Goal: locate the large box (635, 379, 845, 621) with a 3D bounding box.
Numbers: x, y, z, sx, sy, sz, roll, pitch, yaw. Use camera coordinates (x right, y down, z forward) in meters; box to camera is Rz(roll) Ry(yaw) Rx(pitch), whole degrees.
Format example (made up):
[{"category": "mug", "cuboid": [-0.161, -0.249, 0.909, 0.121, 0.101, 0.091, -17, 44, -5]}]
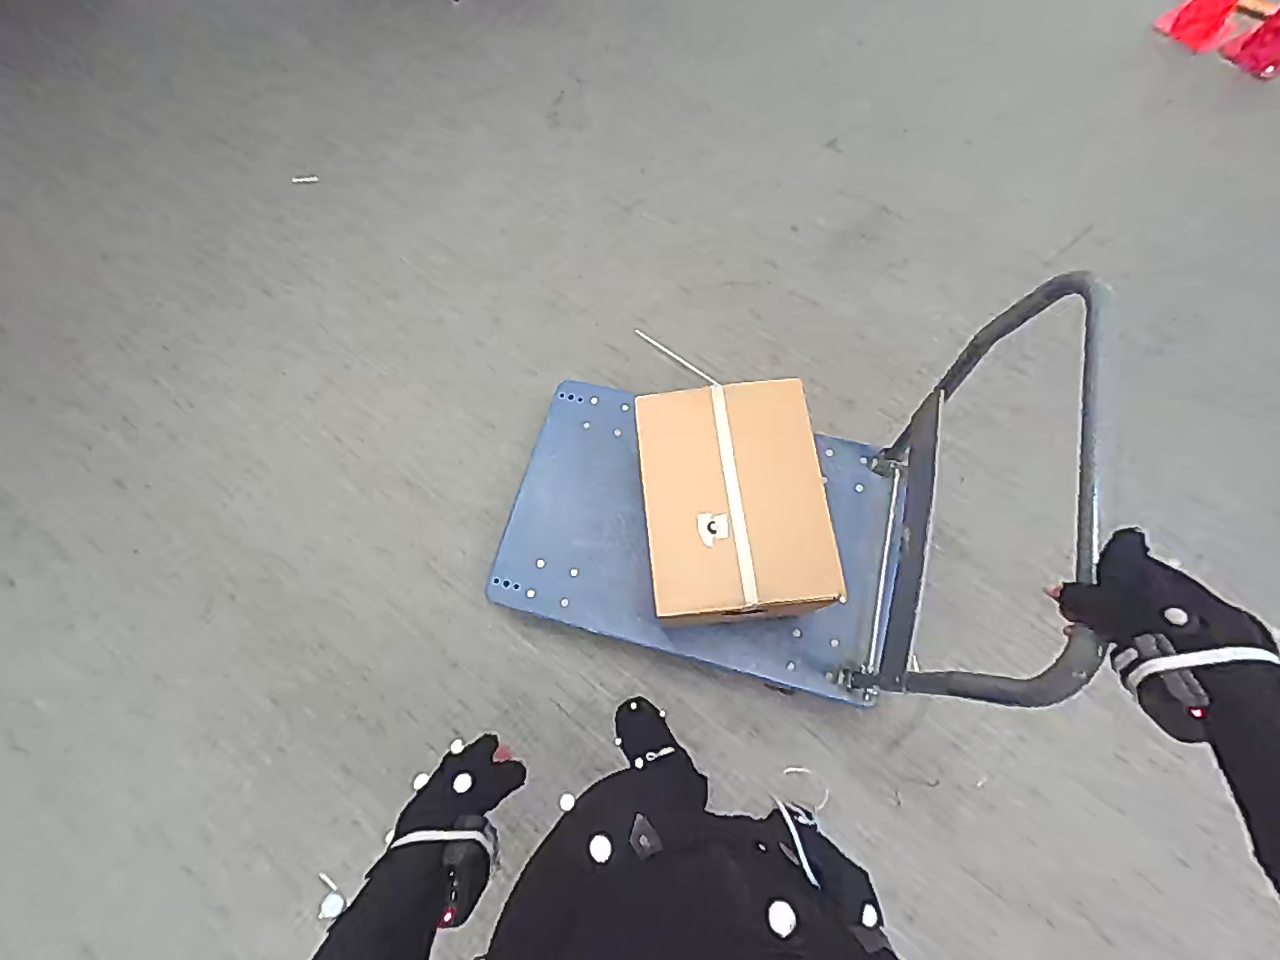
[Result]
[{"category": "large box", "cuboid": [0.170, 0.058, 1.088, 0.320, 0.320, 0.408, -6, 72, 2]}]
